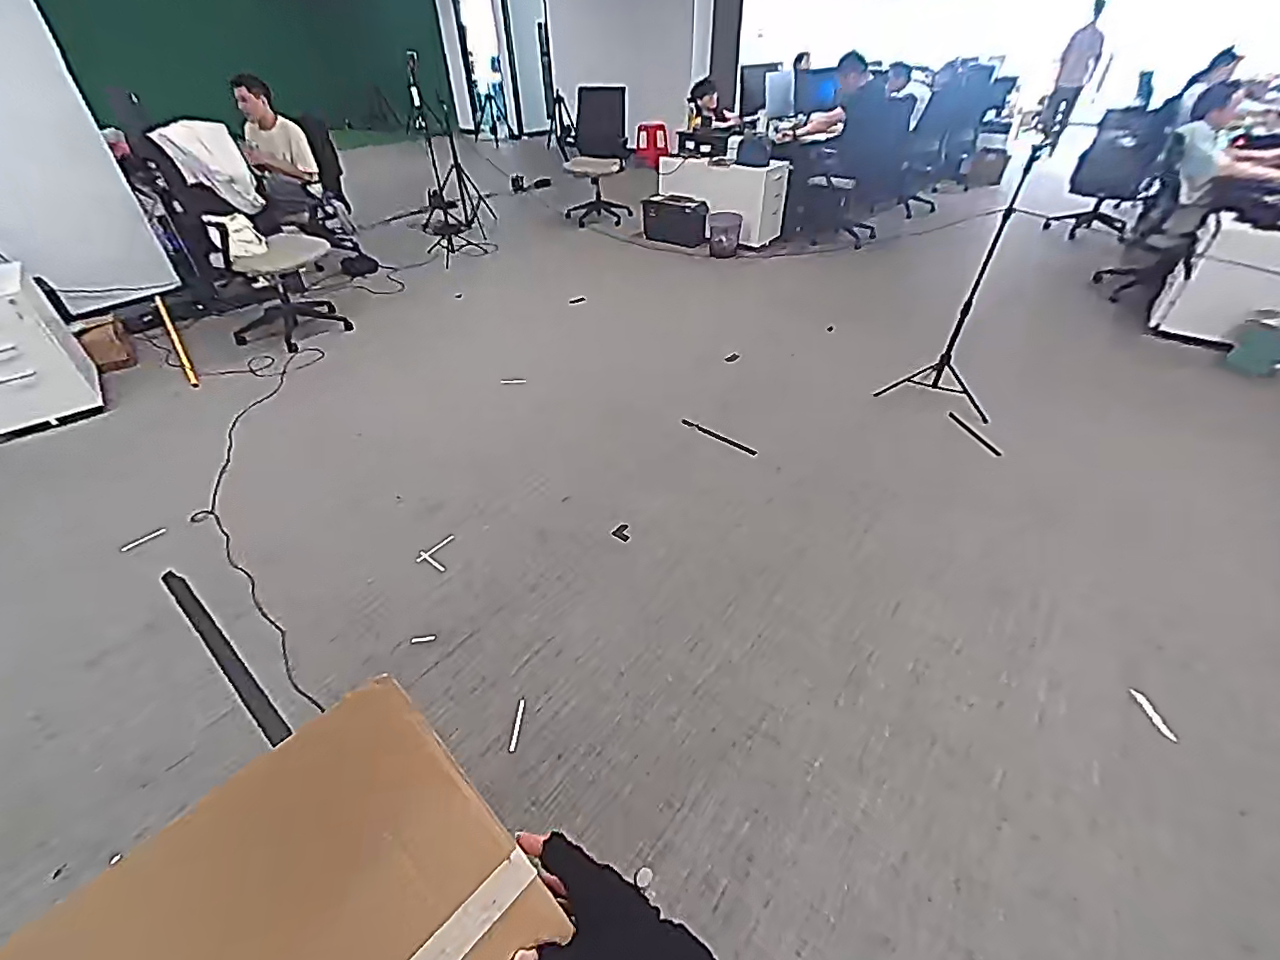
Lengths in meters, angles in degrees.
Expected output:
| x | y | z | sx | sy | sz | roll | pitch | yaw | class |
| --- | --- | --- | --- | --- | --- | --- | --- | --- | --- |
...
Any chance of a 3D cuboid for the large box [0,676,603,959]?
| x | y | z | sx | sy | sz | roll | pitch | yaw | class |
| --- | --- | --- | --- | --- | --- | --- | --- | --- | --- |
| -0.261 | 0.417 | 0.373 | 0.408 | 0.320 | 0.320 | -35 | 79 | -33 | large box |
